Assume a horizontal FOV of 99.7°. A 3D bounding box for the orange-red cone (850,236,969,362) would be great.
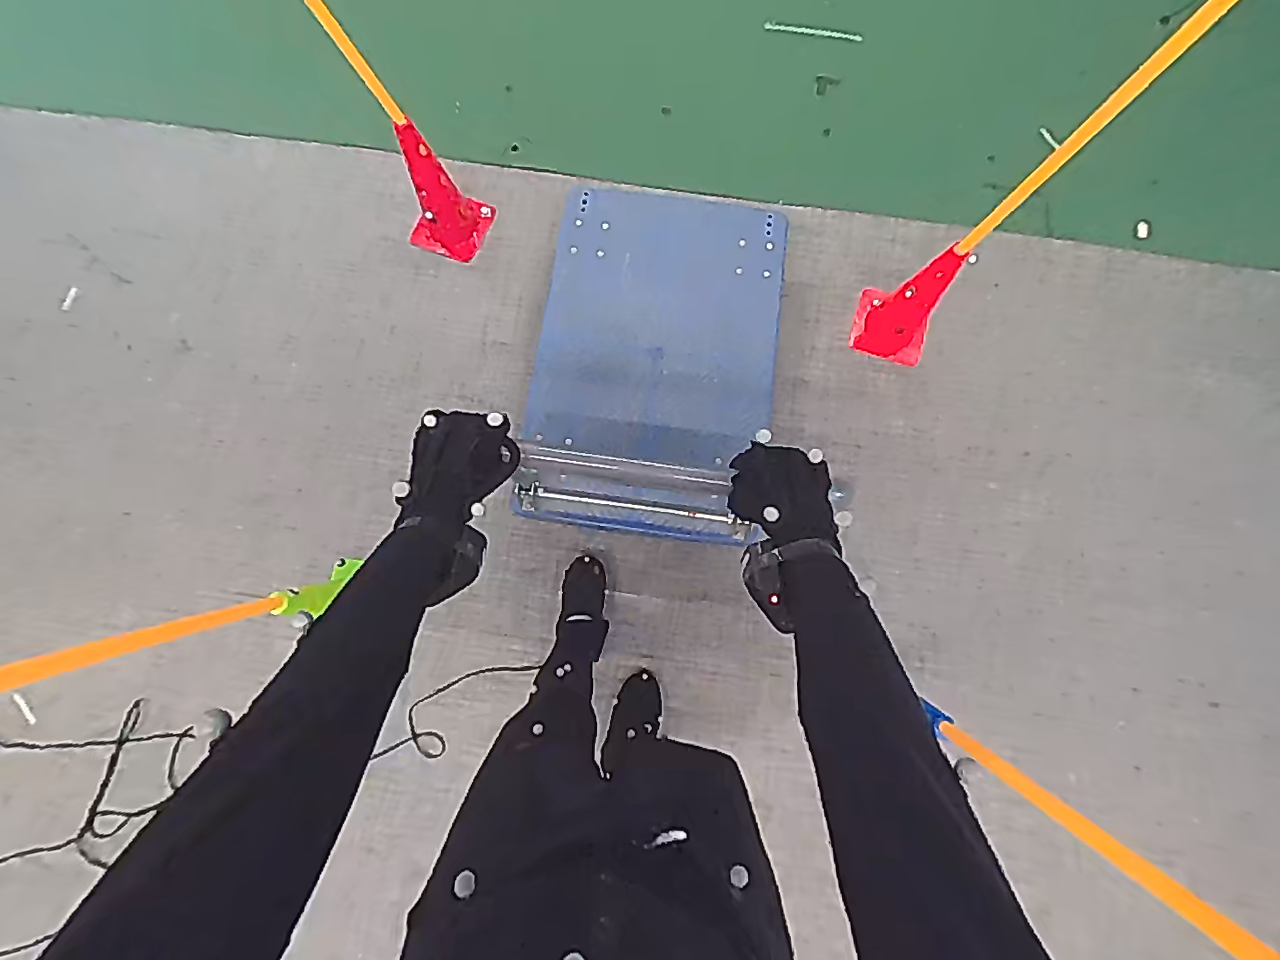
[{"bbox_3d":[0.697,-0.473,1.339,0.198,0.360,0.199,19,79,5],"label":"orange-red cone"}]
